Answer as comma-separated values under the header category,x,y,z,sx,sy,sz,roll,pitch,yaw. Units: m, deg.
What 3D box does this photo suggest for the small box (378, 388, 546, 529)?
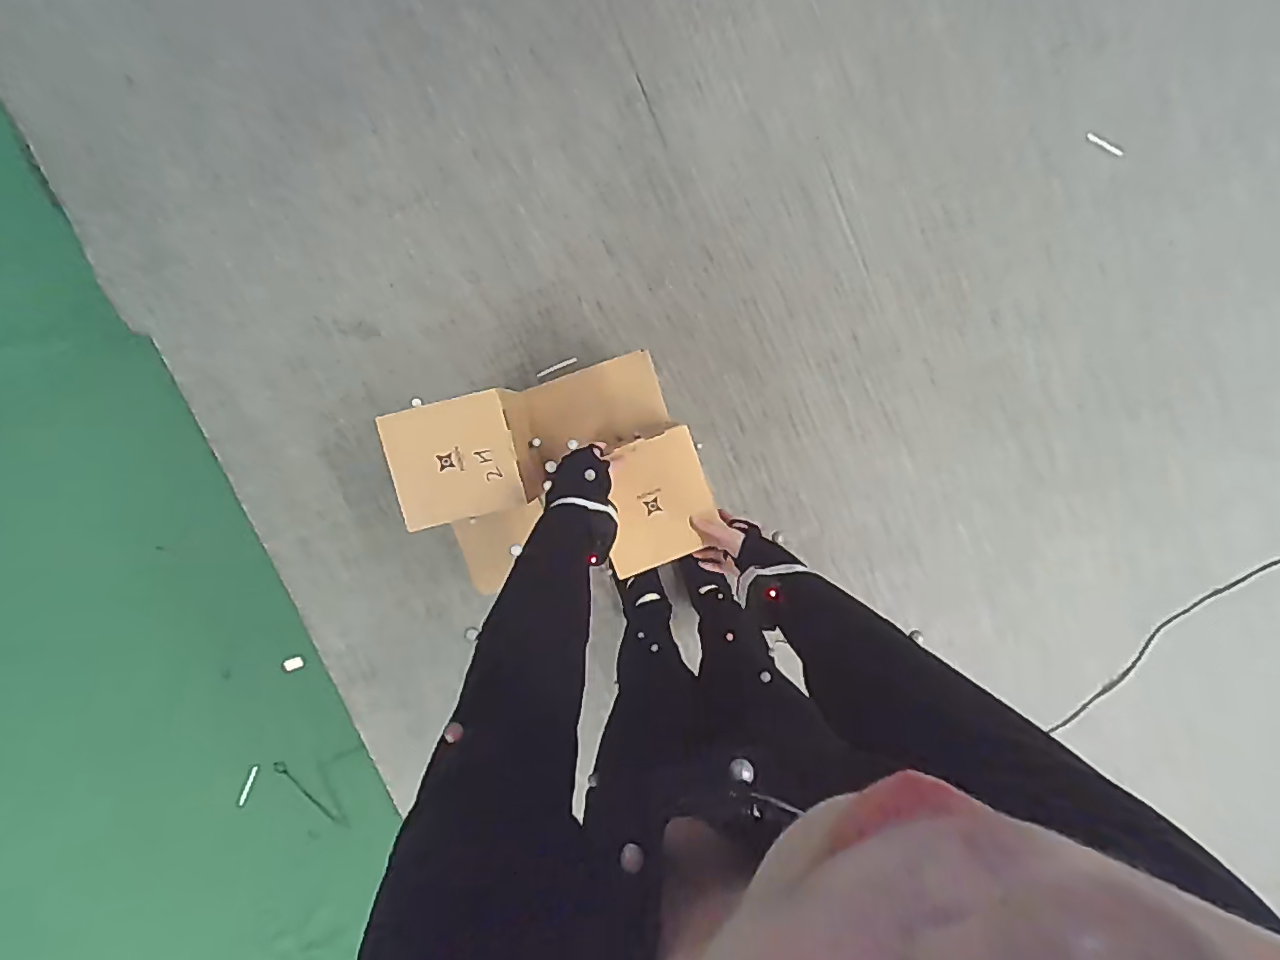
category,x,y,z,sx,sy,sz,roll,pitch,yaw
small box,-0.256,-0.034,0.819,0.179,0.176,0.168,-13,96,0

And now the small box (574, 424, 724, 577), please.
category,x,y,z,sx,sy,sz,roll,pitch,yaw
small box,0.014,0.021,0.826,0.168,0.176,0.179,-21,96,2
